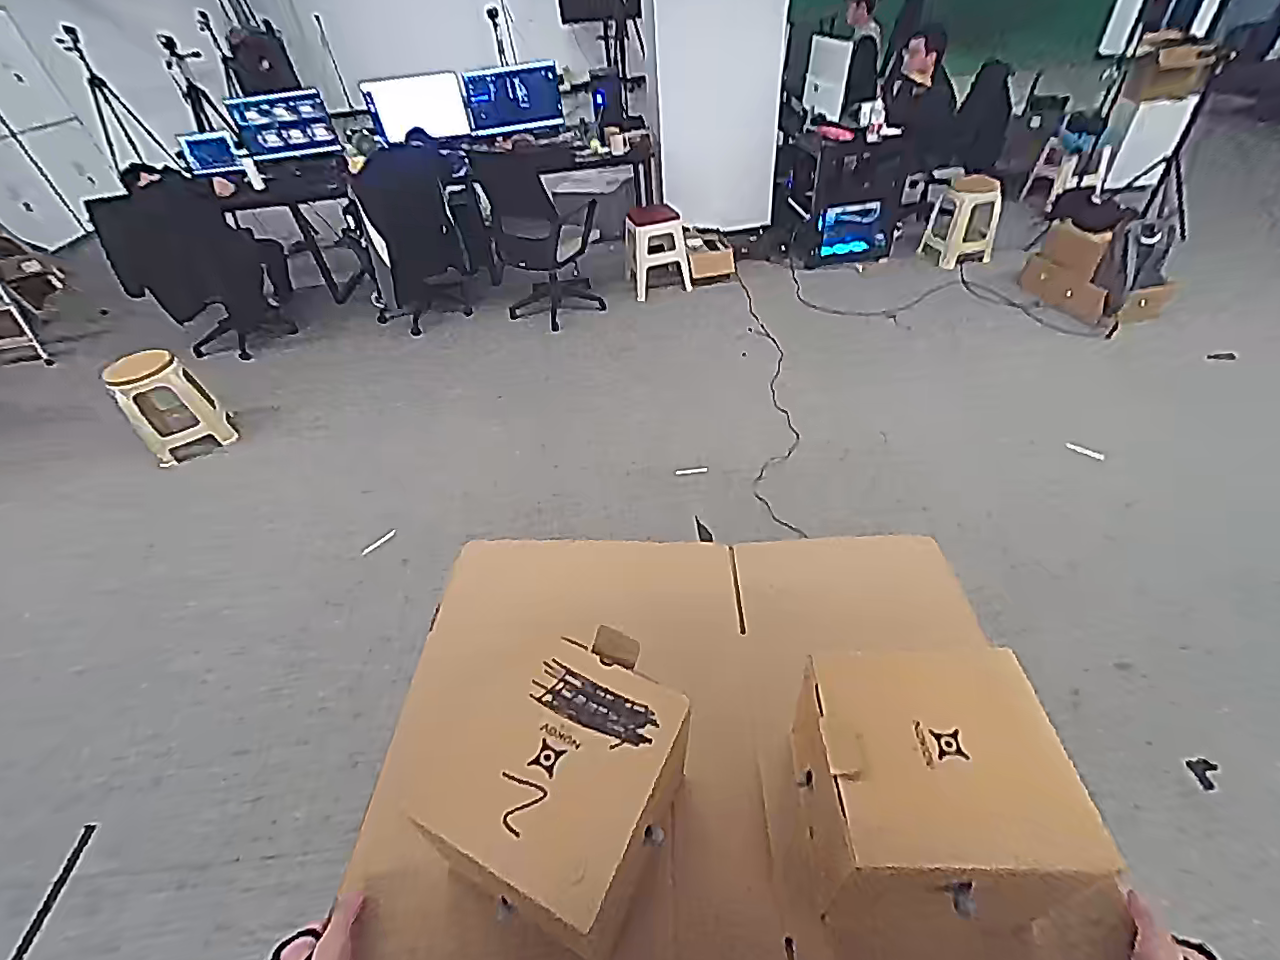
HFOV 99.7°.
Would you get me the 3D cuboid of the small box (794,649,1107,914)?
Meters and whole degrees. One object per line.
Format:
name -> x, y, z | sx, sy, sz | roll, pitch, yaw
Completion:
small box -> 0.247, 0.271, 0.489 | 0.179, 0.176, 0.168 | -3, 41, 6
